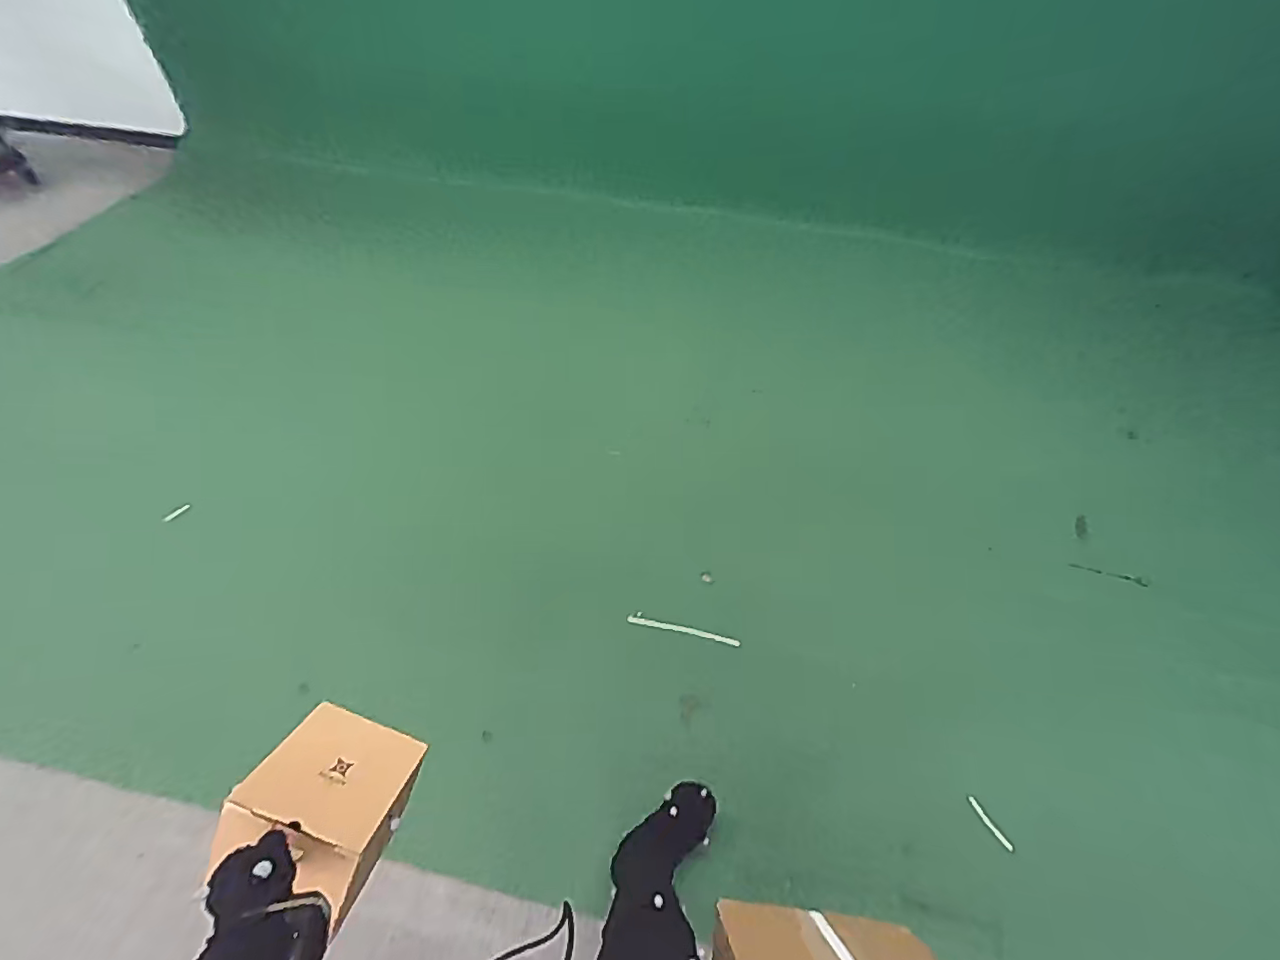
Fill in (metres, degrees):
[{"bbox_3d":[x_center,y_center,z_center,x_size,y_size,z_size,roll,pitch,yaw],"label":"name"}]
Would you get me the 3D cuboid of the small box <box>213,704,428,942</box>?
[{"bbox_3d":[-0.420,0.447,0.722,0.168,0.176,0.179,24,15,-2],"label":"small box"}]
